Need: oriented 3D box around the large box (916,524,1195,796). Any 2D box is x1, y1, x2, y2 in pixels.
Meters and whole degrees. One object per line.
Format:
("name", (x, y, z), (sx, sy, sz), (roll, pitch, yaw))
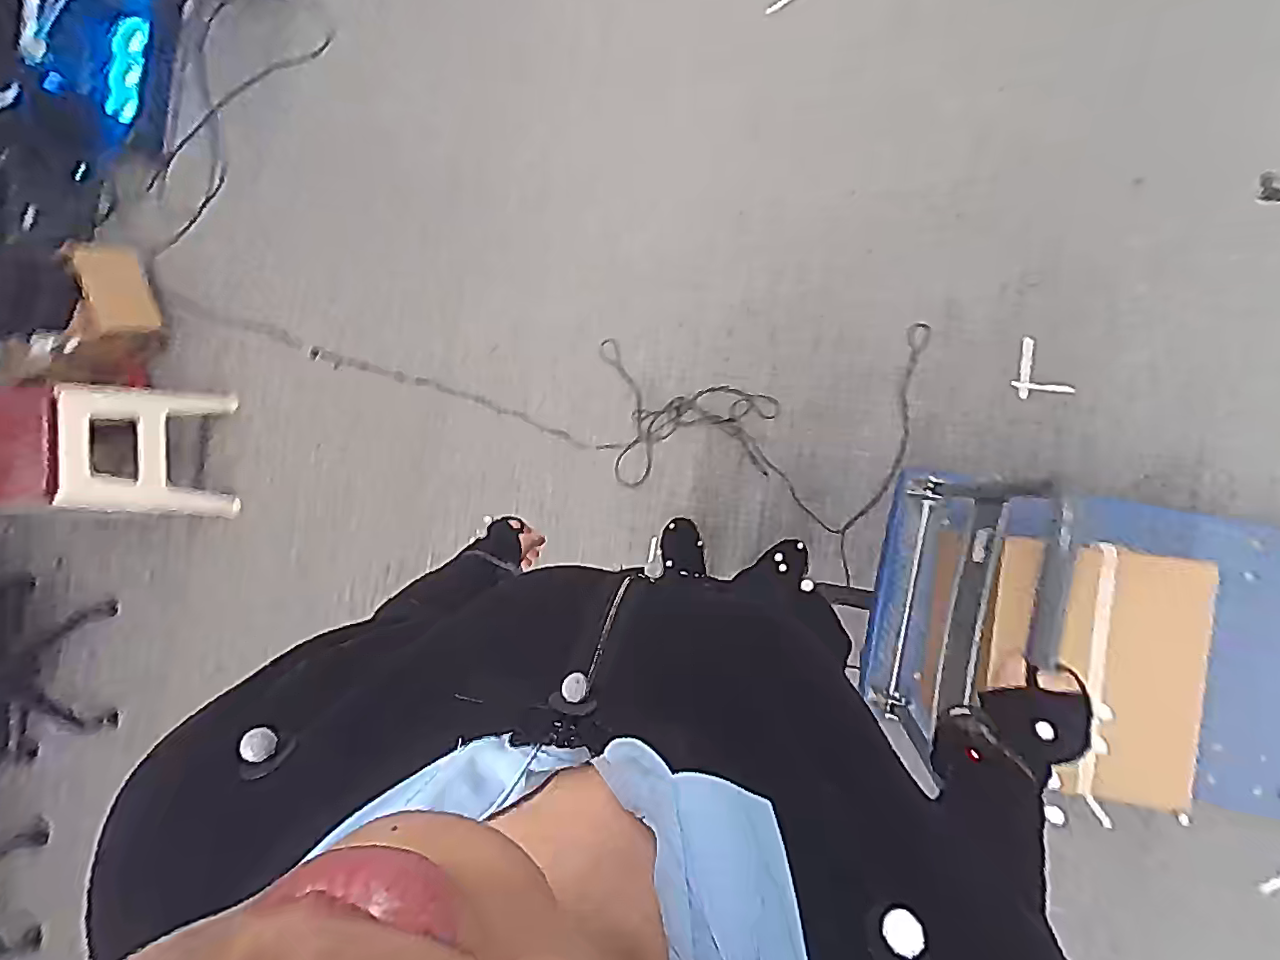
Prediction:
("large box", (0.765, 0.307, 1.054), (0.320, 0.320, 0.408), (6, 90, 11))
